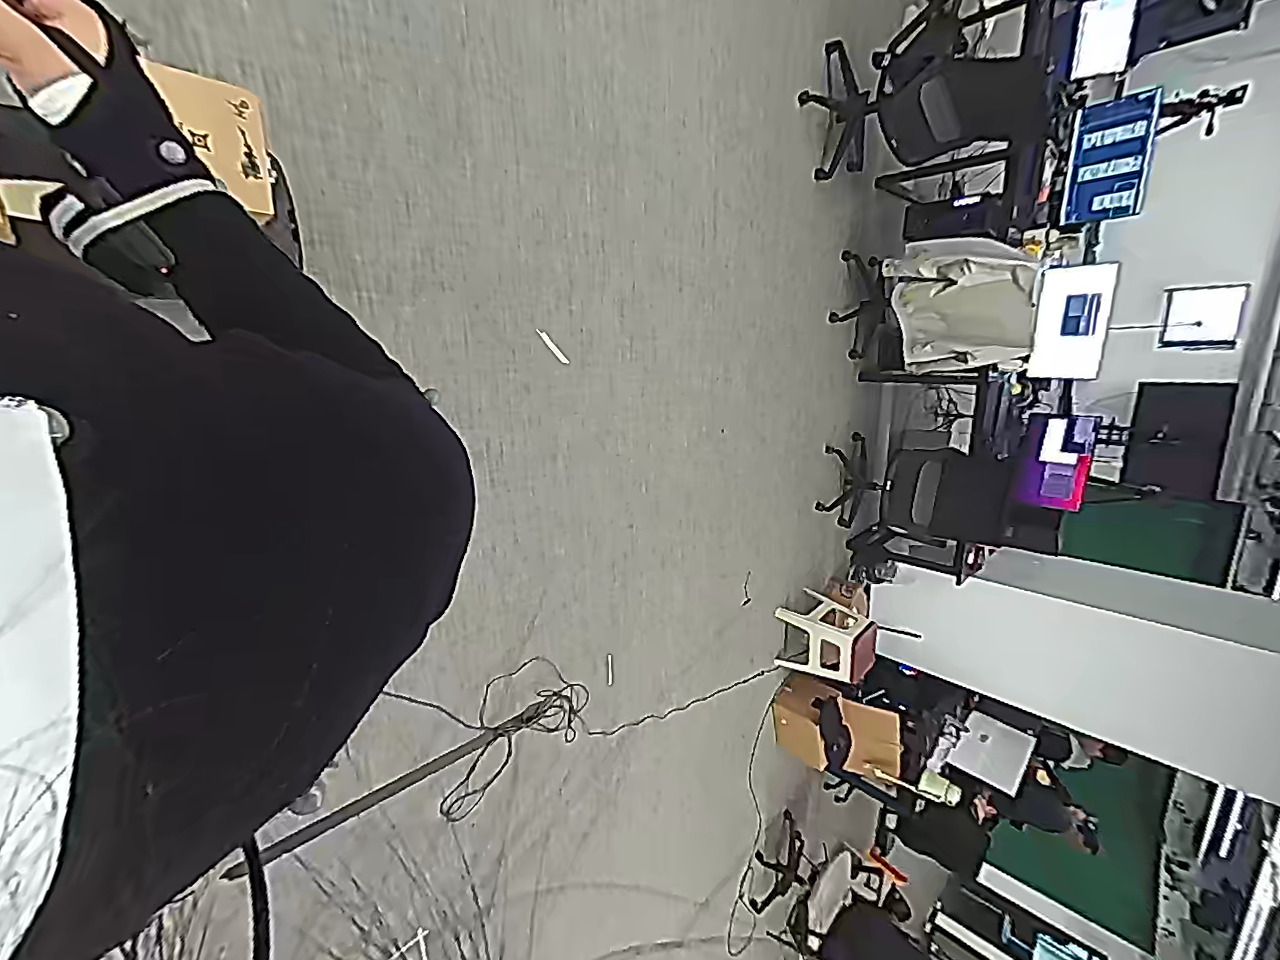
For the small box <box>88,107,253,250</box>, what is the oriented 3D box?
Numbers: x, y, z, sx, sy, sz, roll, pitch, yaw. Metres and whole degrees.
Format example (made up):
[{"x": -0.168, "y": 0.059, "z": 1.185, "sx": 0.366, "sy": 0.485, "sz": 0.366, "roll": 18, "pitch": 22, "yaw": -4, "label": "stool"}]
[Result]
[{"x": -0.782, "y": -0.482, "z": 0.900, "sx": 0.179, "sy": 0.176, "sz": 0.168, "roll": -16, "pitch": 109, "yaw": -43, "label": "small box"}]

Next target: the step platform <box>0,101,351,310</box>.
[{"x": -0.837, "y": -0.406, "z": 0.809, "sx": 0.684, "sy": 0.204, "sz": 0.286, "roll": -17, "pitch": 111, "yaw": -43, "label": "step platform"}]

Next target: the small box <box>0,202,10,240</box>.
[{"x": -0.978, "y": -0.424, "z": 0.708, "sx": 0.168, "sy": 0.176, "sz": 0.179, "roll": -17, "pitch": 111, "yaw": -43, "label": "small box"}]

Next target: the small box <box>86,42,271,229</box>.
[{"x": -0.665, "y": -0.477, "z": 0.786, "sx": 0.179, "sy": 0.176, "sz": 0.168, "roll": -11, "pitch": 107, "yaw": -44, "label": "small box"}]
